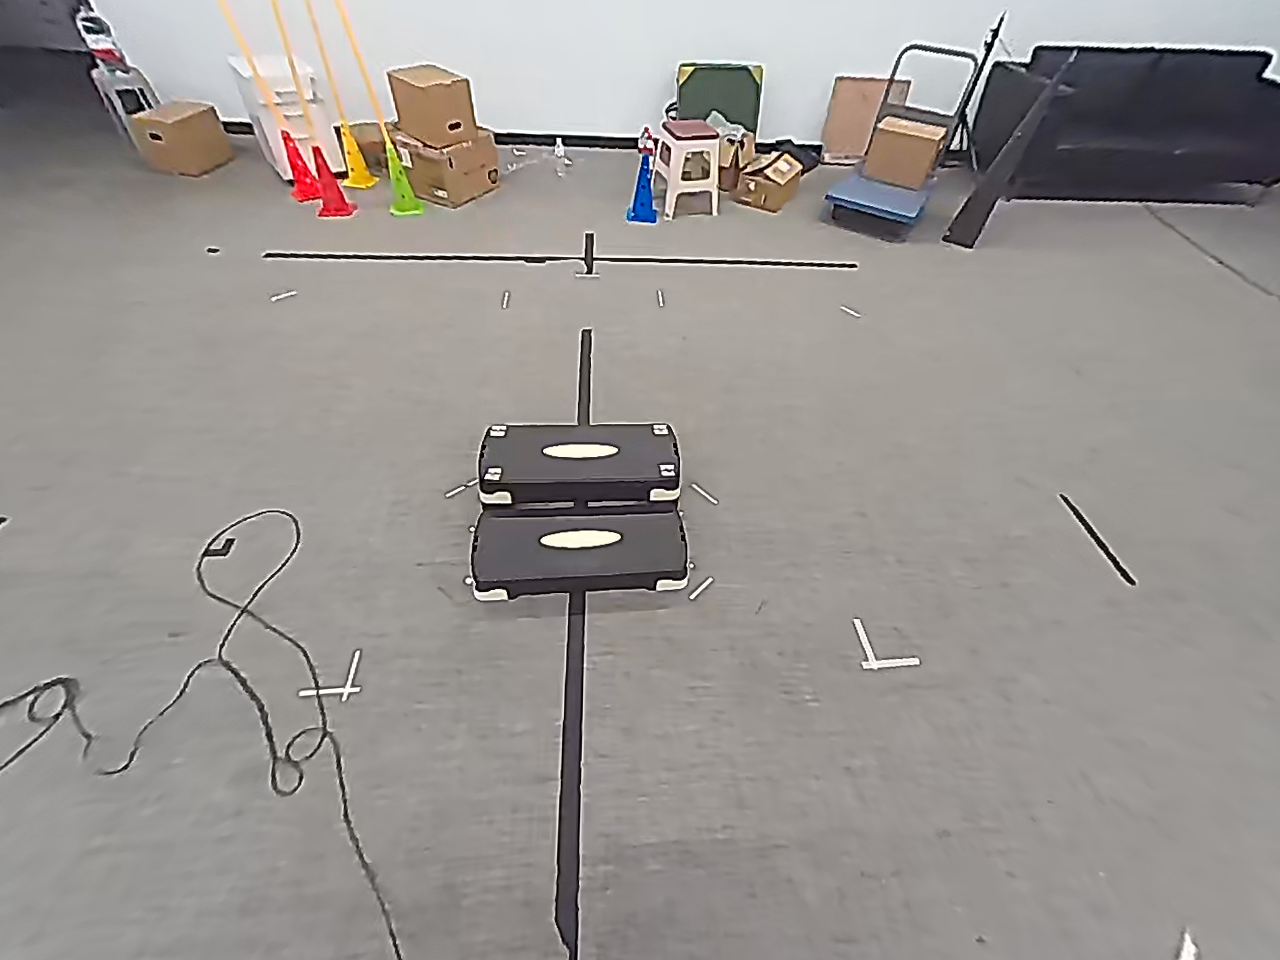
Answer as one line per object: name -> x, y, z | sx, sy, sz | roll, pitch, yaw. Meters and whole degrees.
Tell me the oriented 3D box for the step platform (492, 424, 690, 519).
step platform -> -0.167, -0.038, 1.893 | 0.684, 0.204, 0.286 | -1, 48, -6
